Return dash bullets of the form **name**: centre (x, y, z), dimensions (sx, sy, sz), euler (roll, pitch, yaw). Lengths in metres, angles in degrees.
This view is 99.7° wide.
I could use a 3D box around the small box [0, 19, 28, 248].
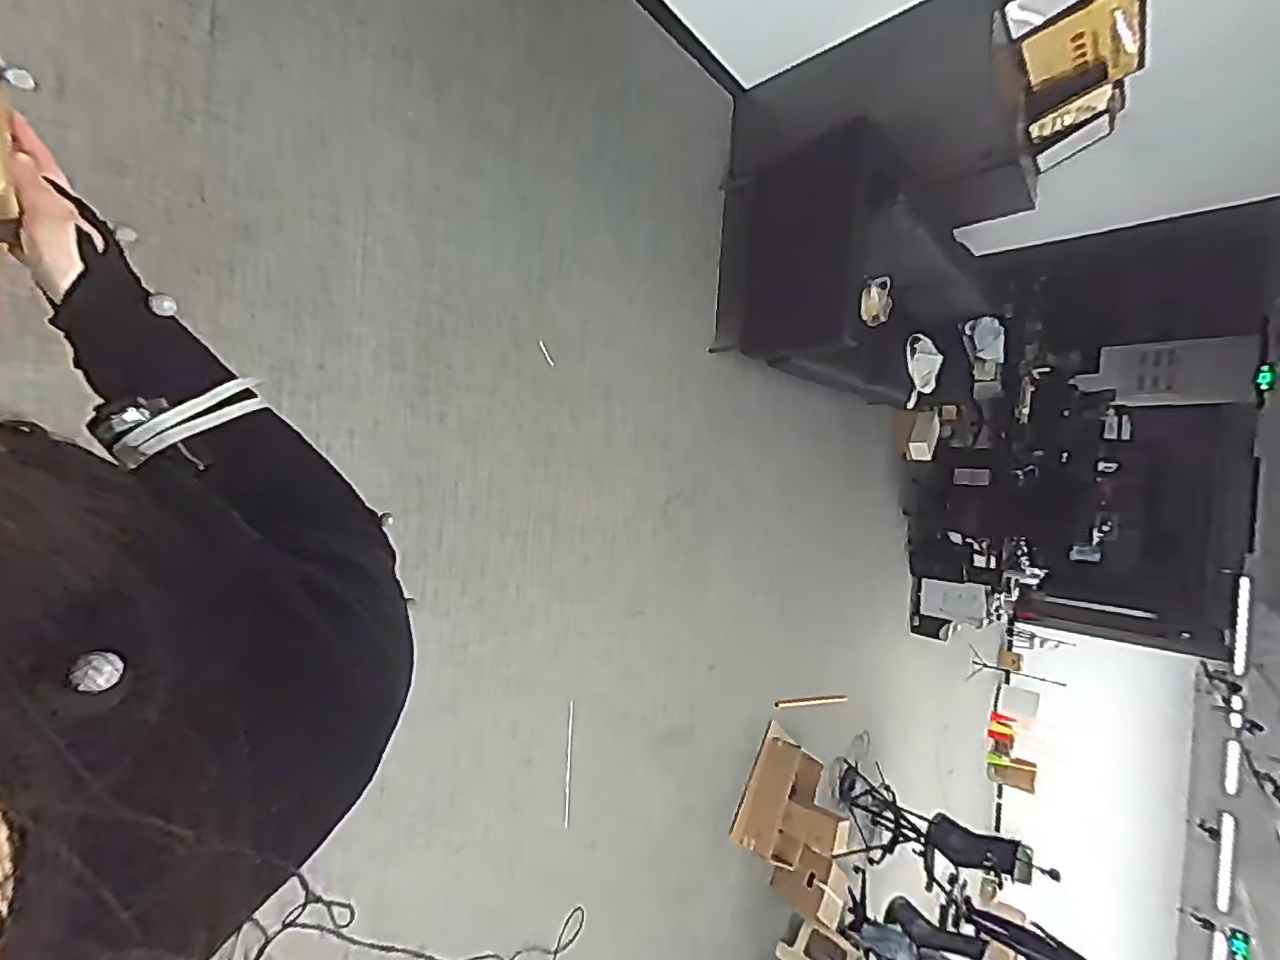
- **small box**: centre (-0.467, -0.239, 0.290), dimensions (0.168, 0.176, 0.179), euler (-7, 103, -45)
